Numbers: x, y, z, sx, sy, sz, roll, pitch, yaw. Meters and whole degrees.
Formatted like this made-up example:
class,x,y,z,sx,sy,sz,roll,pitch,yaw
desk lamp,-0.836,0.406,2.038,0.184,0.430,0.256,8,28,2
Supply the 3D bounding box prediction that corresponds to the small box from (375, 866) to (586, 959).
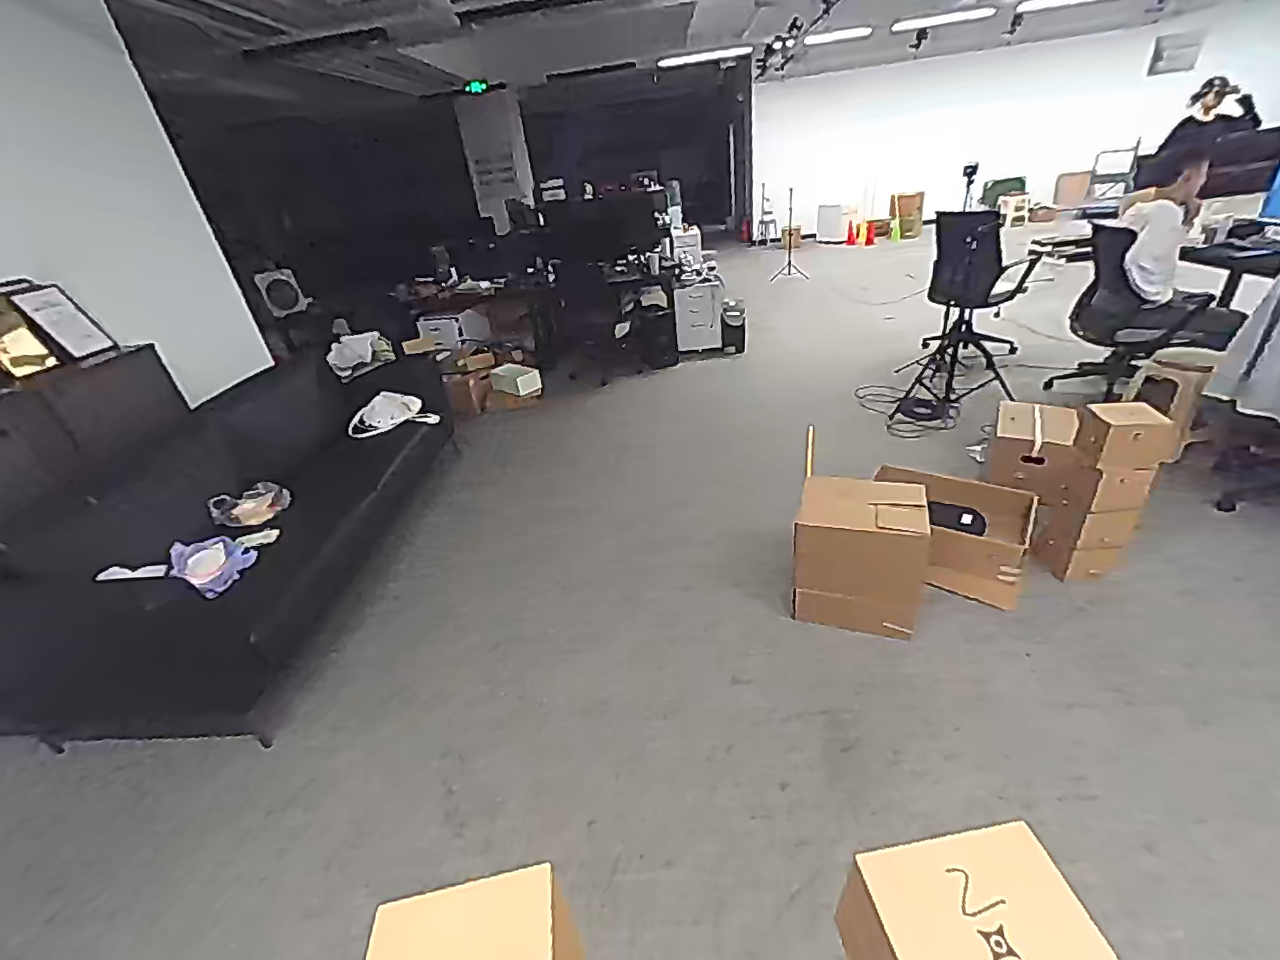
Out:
class,x,y,z,sx,sy,sz,roll,pitch,yaw
small box,-0.135,0.493,0.477,0.168,0.176,0.179,-10,29,-4
